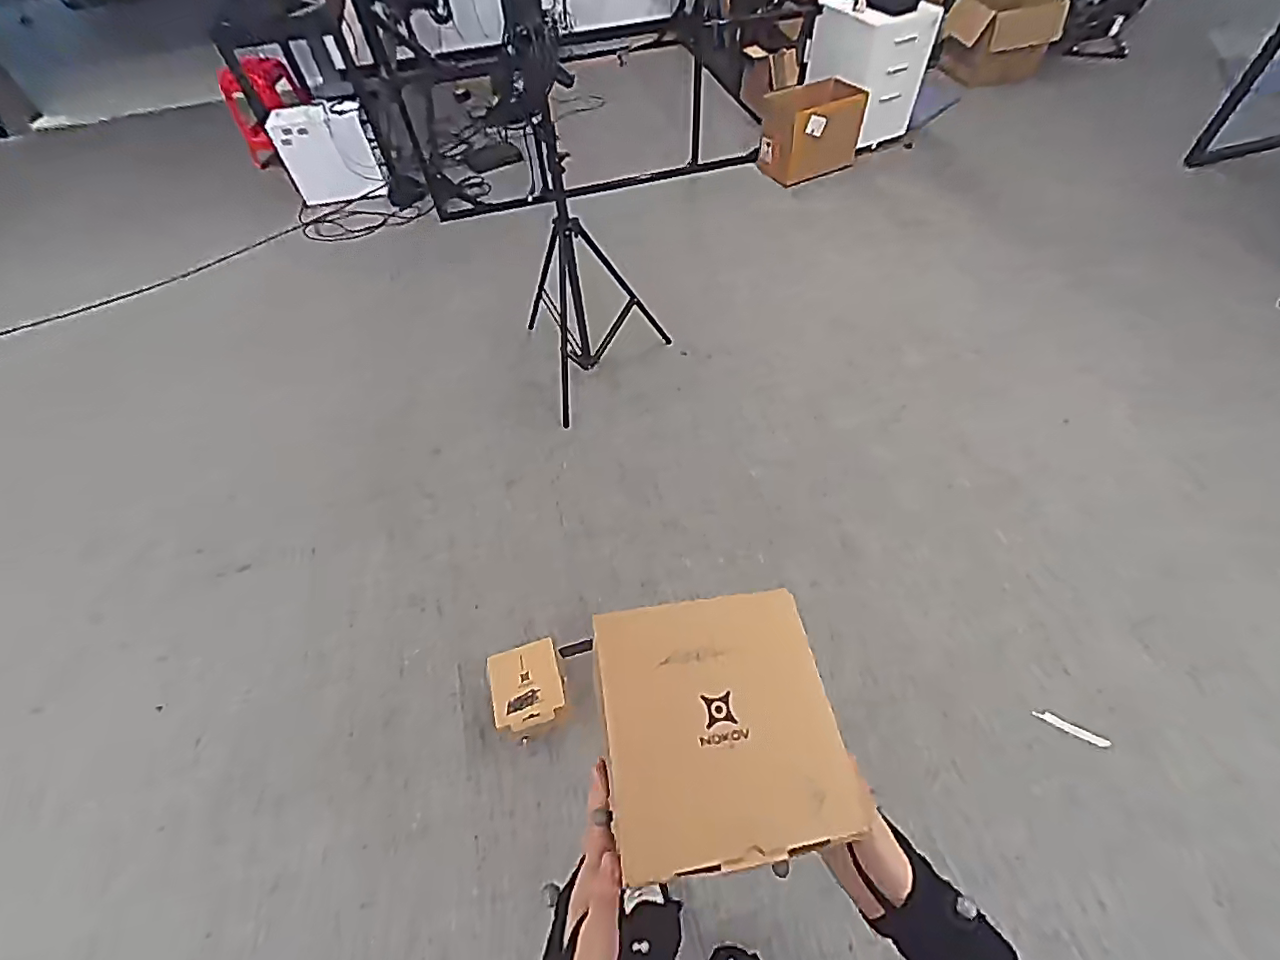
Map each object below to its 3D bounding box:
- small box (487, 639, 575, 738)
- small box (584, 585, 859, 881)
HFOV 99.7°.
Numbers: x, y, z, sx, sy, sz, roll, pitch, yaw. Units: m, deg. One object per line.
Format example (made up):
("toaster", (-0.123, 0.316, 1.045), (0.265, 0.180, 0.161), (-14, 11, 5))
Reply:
("small box", (-0.268, 0.528, 1.354), (0.168, 0.176, 0.179), (-16, 55, -8))
("small box", (0.046, 0.211, 0.453), (0.168, 0.176, 0.179), (-6, 55, -10))
